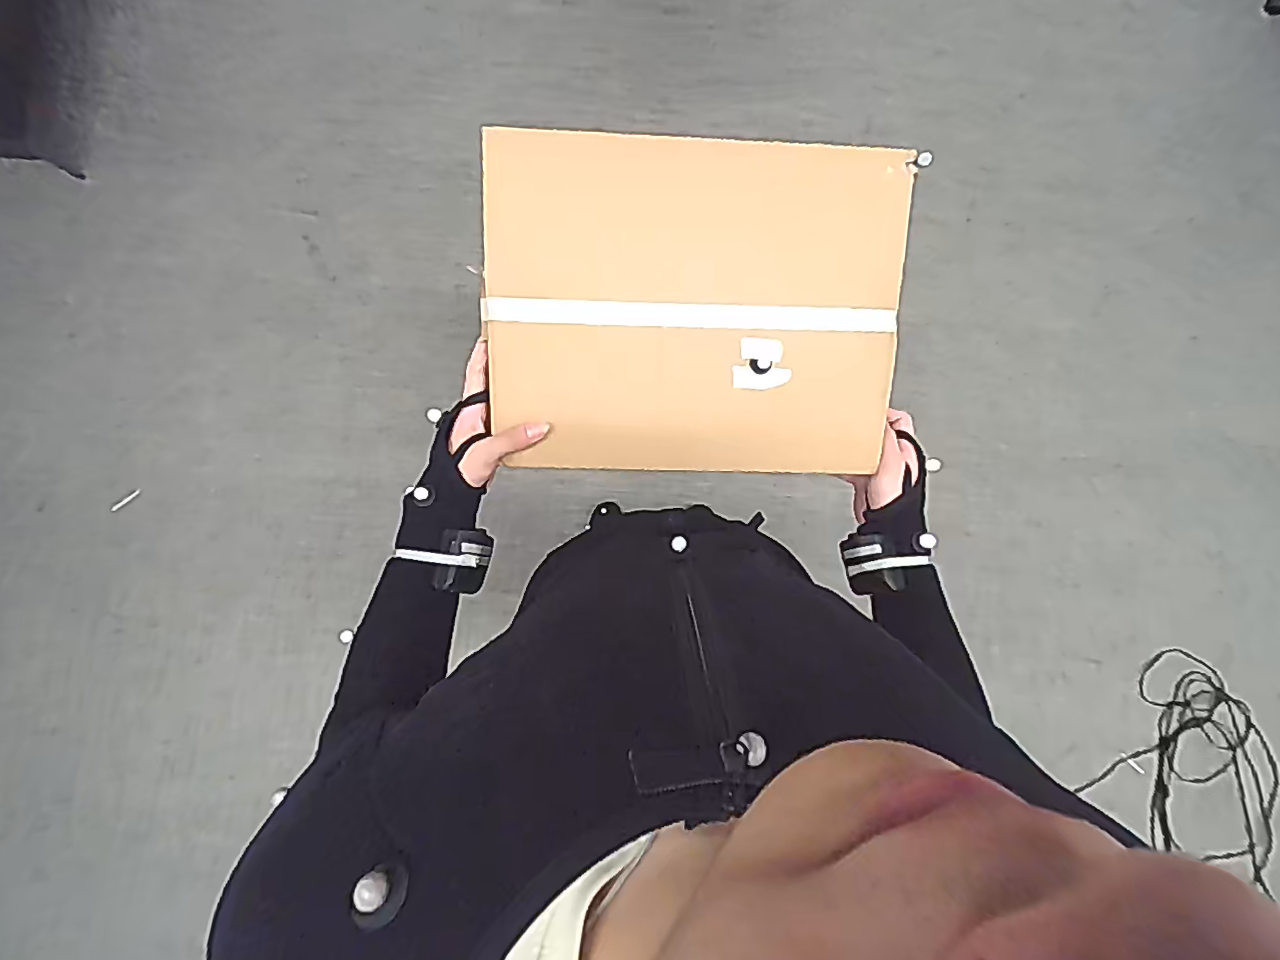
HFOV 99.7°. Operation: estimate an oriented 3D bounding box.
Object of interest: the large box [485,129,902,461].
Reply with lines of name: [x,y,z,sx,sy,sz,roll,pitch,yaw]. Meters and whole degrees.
large box: [0.043,-0.202,0.682,0.408,0.320,0.320,0,103,-4]
